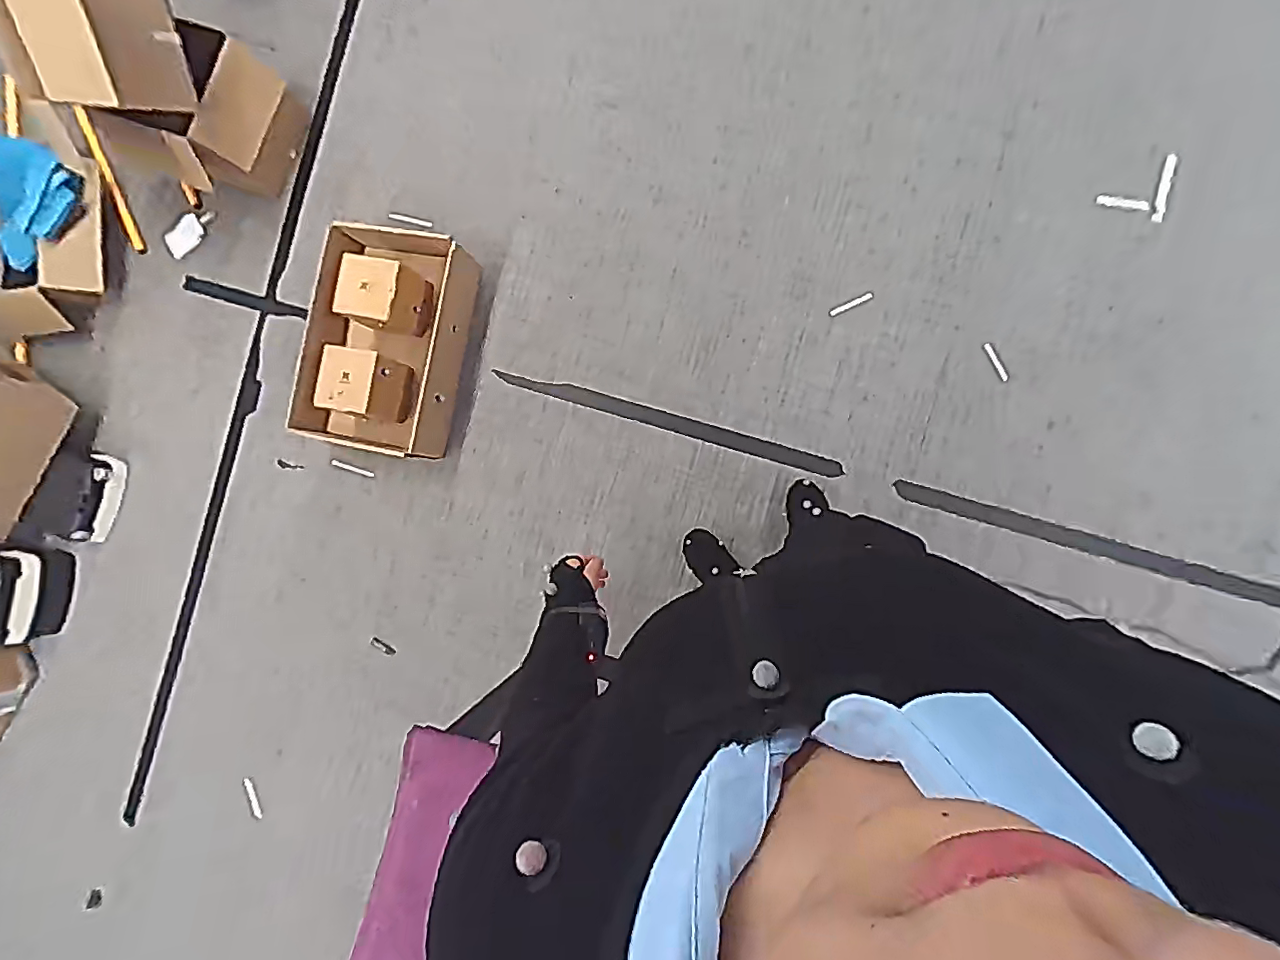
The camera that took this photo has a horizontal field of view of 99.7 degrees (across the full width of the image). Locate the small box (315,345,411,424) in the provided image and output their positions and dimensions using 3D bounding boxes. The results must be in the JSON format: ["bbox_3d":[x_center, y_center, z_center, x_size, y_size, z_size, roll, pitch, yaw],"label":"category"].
[{"bbox_3d":[-0.784,-0.268,1.550,0.168,0.176,0.179,9,88,11],"label":"small box"}]

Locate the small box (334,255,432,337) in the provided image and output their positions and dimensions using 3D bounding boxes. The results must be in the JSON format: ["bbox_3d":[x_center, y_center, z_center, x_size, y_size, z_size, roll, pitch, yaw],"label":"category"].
[{"bbox_3d":[-0.733,-0.523,1.554,0.179,0.176,0.168,11,90,9],"label":"small box"}]
